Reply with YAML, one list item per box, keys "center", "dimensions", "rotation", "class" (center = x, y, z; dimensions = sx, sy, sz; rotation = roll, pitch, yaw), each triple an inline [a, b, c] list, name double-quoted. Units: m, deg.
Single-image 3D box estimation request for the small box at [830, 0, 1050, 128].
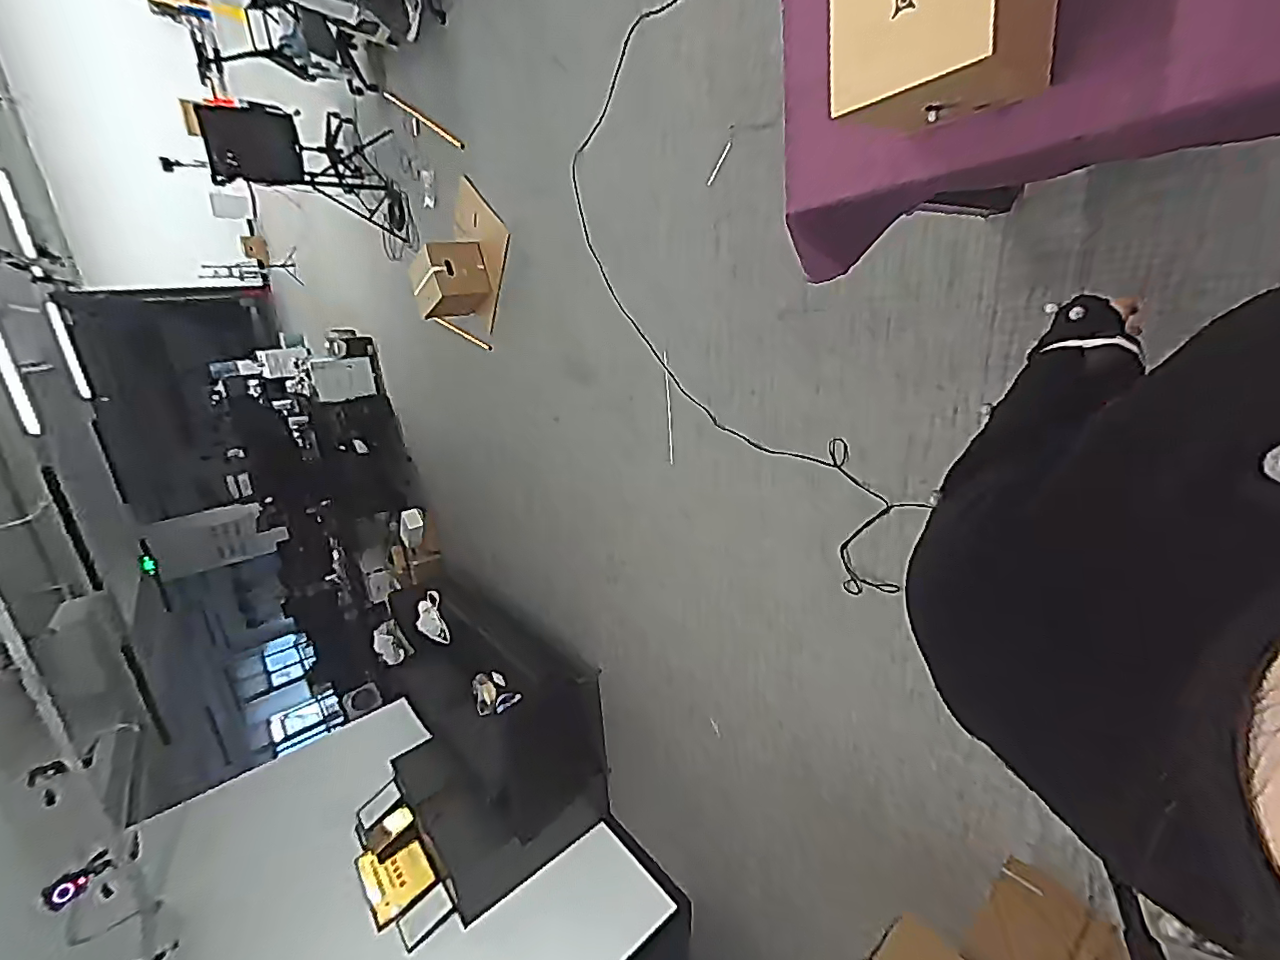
- center: [0.326, -0.505, 0.586]
  dimensions: [0.168, 0.176, 0.179]
  rotation: [13, 114, 49]
  class: "small box"
